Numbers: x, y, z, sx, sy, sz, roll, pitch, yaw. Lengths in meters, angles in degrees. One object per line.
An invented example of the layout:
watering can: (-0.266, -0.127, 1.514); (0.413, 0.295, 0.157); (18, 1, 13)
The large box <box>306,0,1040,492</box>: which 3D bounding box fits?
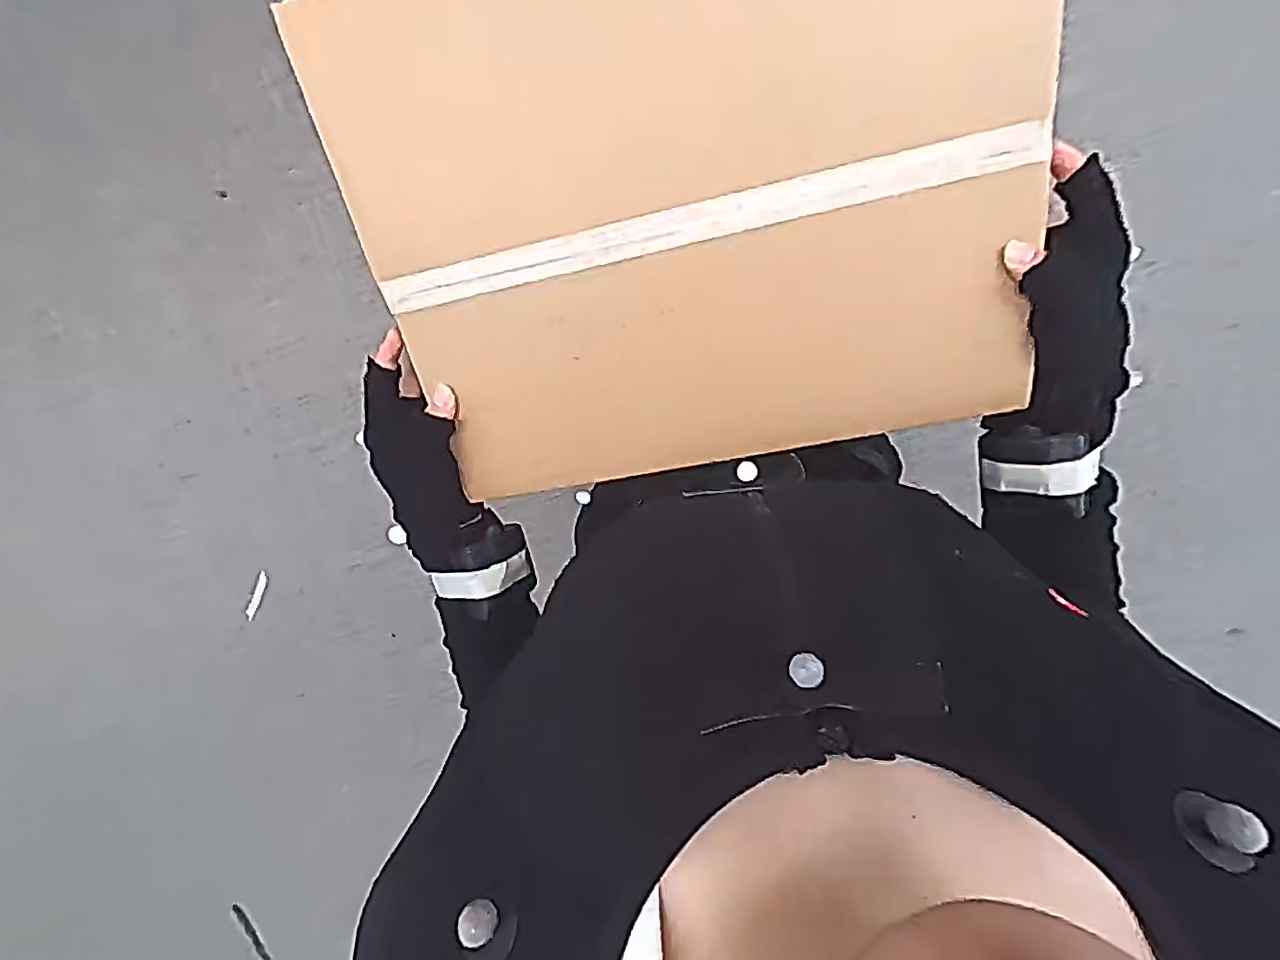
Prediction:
large box: (0.038, -0.222, 0.474); (0.408, 0.320, 0.320); (-10, 115, 8)
